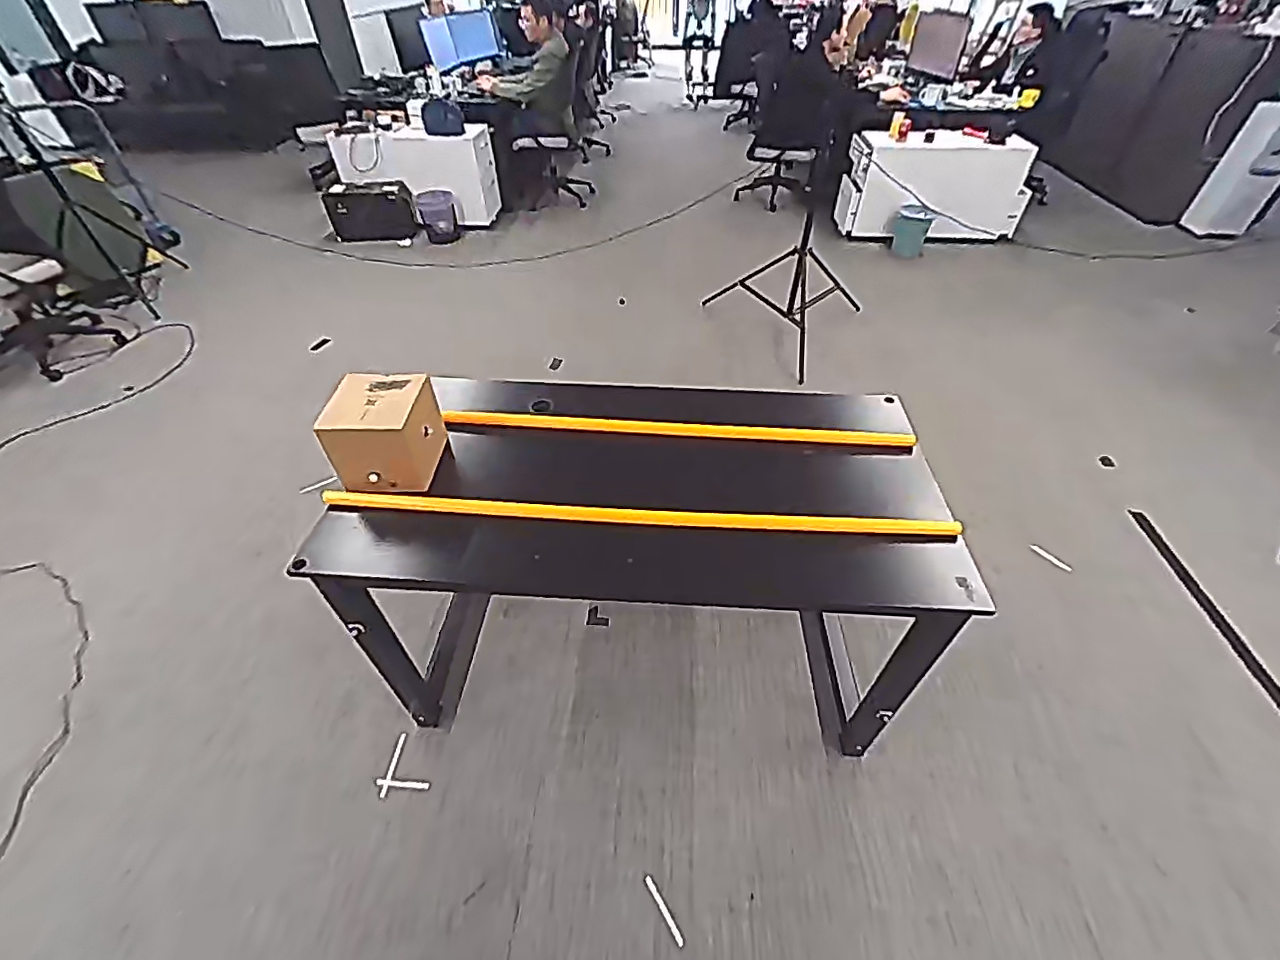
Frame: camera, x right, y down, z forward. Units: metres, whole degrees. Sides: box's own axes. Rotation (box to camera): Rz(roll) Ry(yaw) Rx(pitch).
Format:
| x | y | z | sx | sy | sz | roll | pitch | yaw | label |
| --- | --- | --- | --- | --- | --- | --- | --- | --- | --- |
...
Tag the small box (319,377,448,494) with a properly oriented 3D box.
| x | y | z | sx | sy | sz | roll | pitch | yaw | label |
| --- | --- | --- | --- | --- | --- | --- | --- | --- | --- |
| -0.503 | -0.091 | 1.095 | 0.168 | 0.176 | 0.179 | 0 | 45 | 0 | small box |
